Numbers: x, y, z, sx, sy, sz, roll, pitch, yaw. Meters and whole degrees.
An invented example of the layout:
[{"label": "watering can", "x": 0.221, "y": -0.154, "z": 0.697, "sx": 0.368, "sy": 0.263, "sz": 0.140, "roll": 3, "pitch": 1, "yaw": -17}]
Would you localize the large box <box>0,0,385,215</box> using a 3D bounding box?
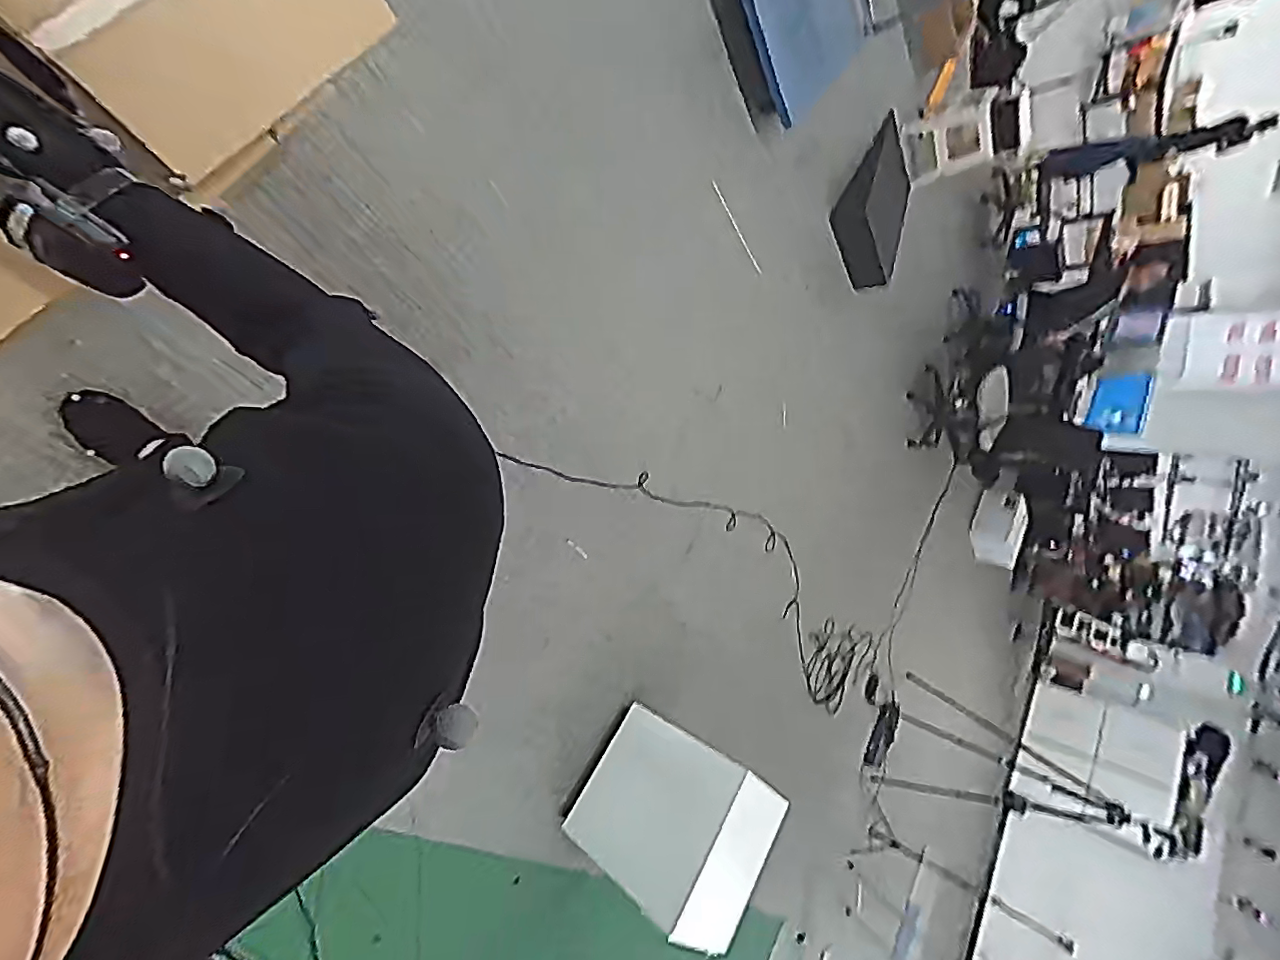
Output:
[{"label": "large box", "x": -0.643, "y": -0.628, "z": 0.717, "sx": 0.408, "sy": 0.320, "sz": 0.320, "roll": -58, "pitch": 135, "yaw": -20}]
